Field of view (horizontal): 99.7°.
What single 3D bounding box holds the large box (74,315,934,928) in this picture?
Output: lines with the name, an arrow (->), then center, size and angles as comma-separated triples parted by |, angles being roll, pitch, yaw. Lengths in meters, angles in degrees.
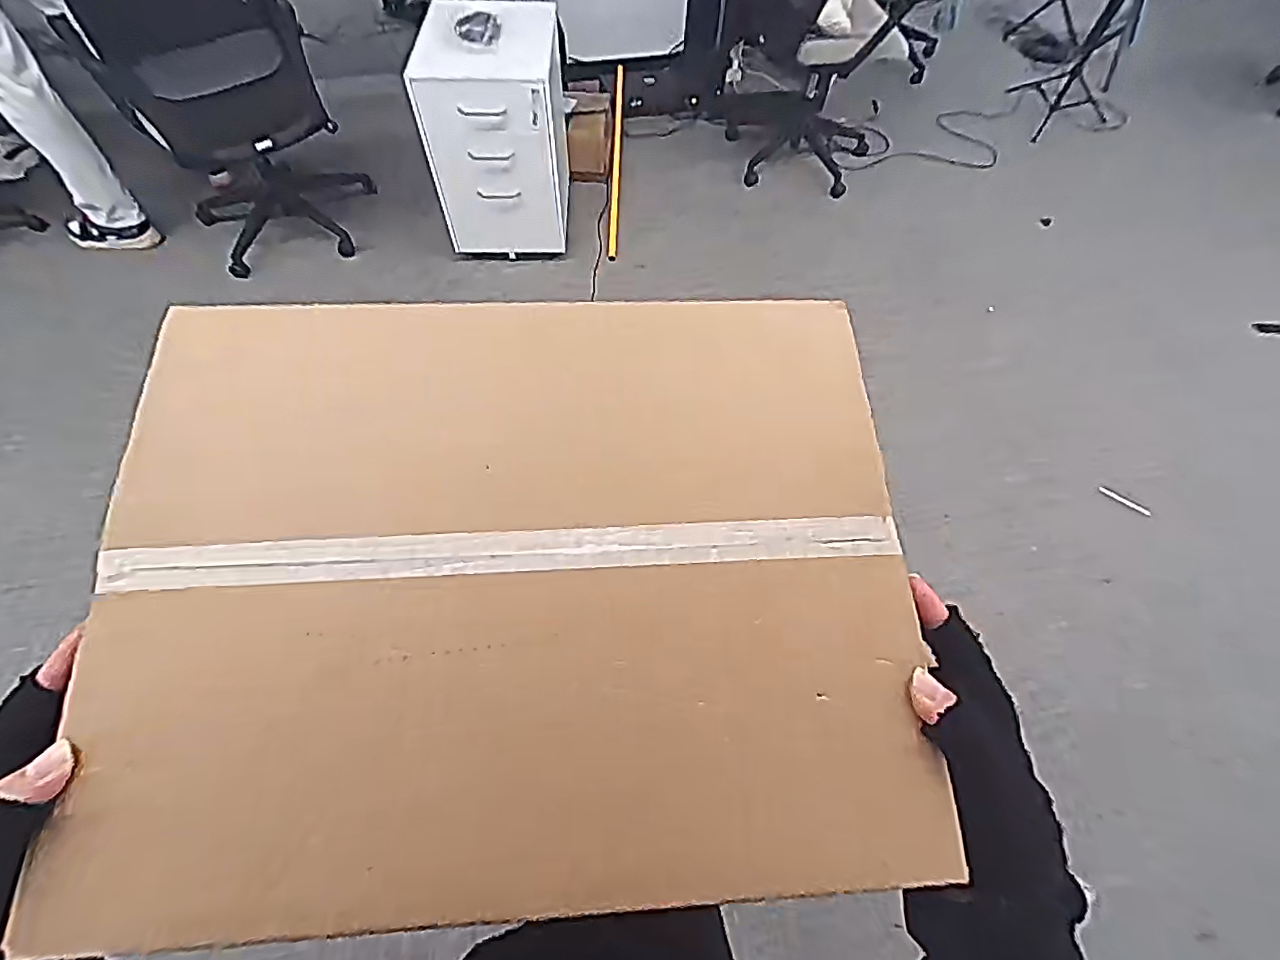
large box -> -0.071, 0.092, 0.439 | 0.408, 0.320, 0.320 | -2, 71, -4
